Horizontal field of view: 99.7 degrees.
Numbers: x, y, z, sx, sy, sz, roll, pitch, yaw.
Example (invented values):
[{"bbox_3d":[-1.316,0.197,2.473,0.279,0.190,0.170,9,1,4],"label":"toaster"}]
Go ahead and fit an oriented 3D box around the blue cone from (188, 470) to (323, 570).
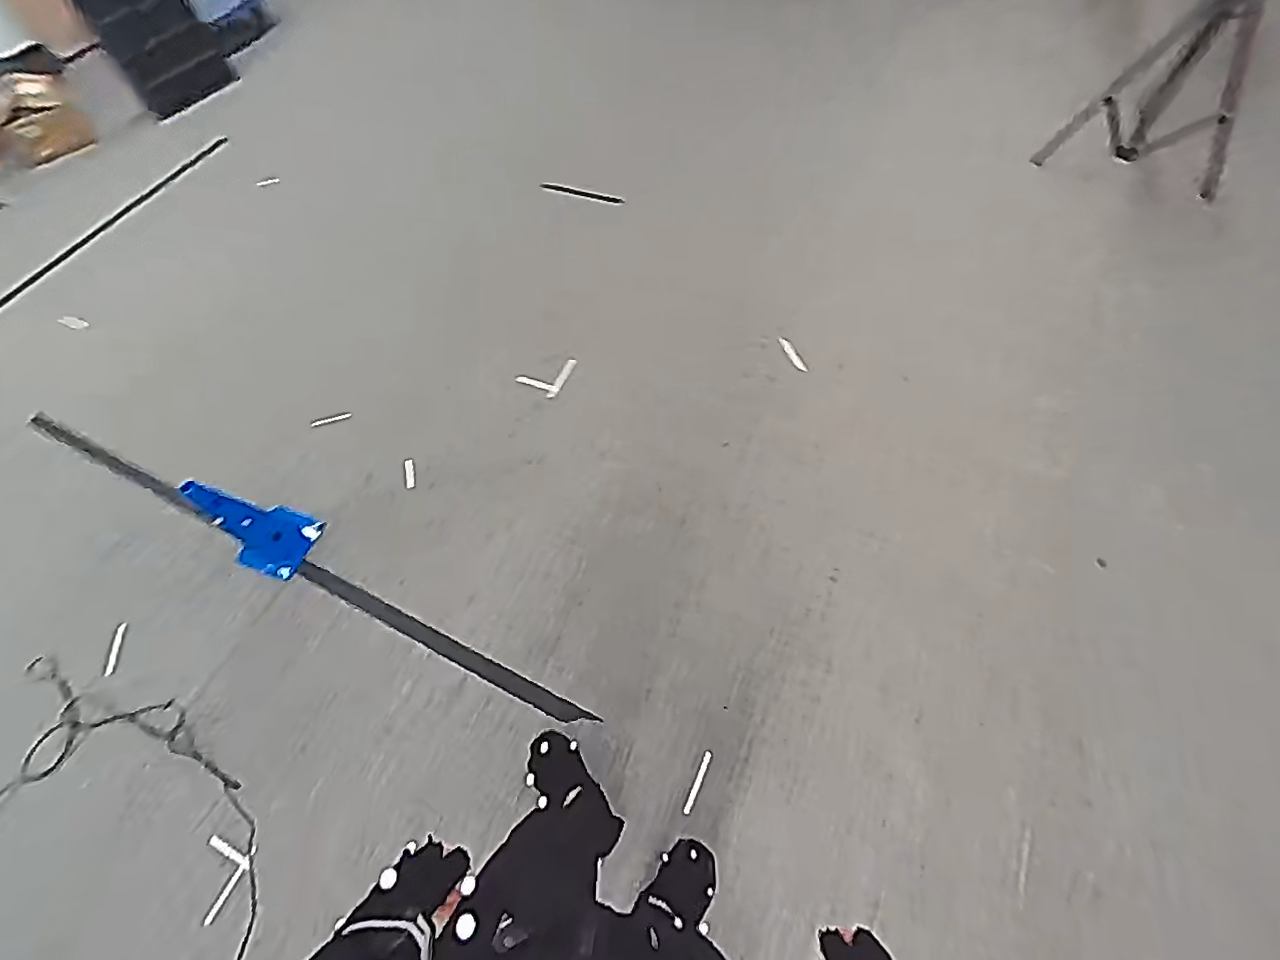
[{"bbox_3d":[-1.091,0.090,1.490,0.193,0.380,0.192,19,63,14],"label":"blue cone"}]
